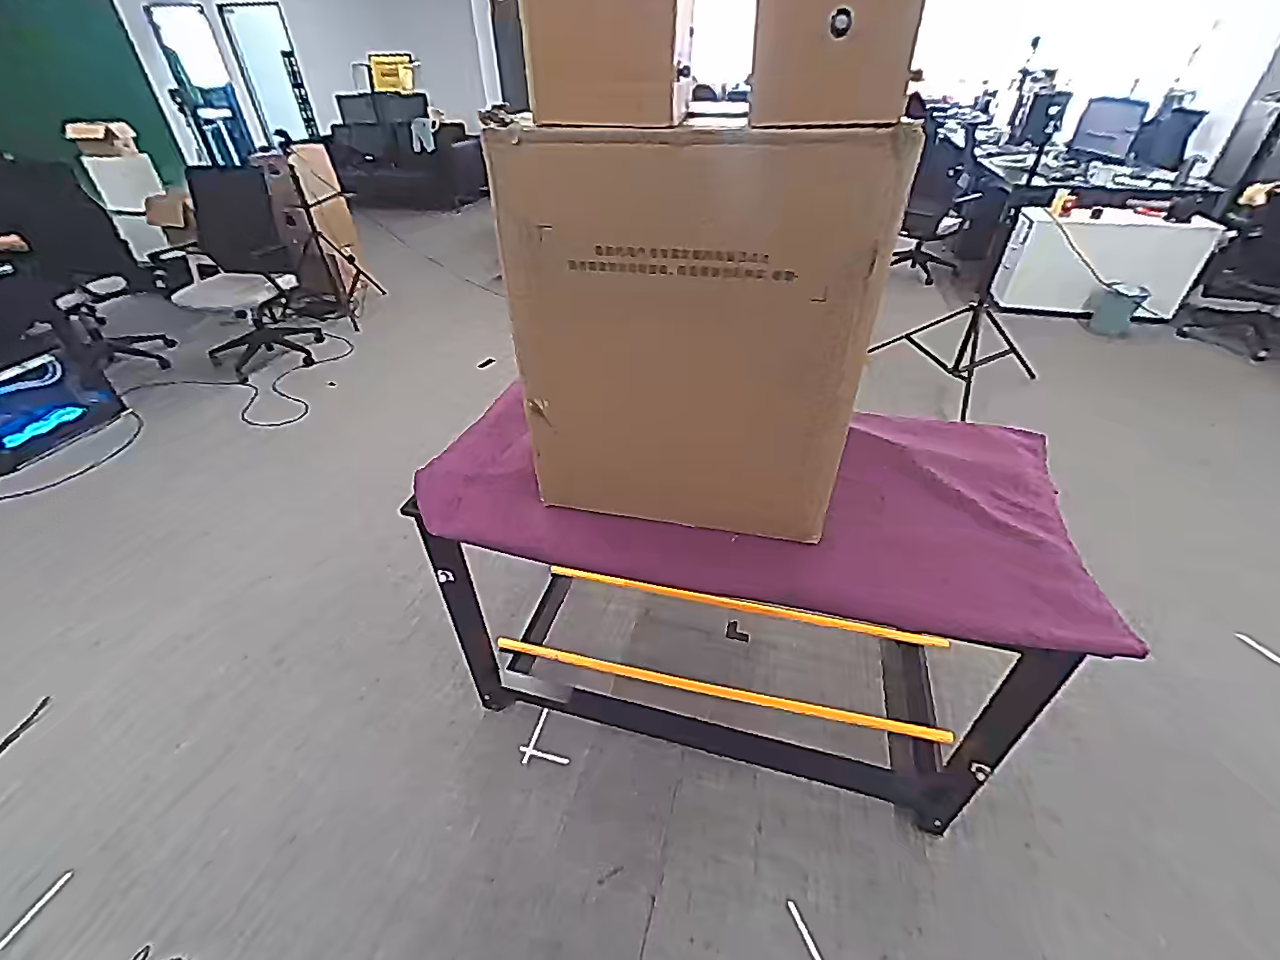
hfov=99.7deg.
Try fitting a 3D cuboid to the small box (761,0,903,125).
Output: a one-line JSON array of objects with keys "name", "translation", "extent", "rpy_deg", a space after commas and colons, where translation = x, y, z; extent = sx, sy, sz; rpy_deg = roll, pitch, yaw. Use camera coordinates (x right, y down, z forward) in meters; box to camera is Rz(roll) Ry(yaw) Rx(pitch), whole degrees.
[{"name": "small box", "translation": [0.272, -0.622, 0.781], "extent": [0.168, 0.176, 0.179], "rpy_deg": [8, 39, 14]}]
